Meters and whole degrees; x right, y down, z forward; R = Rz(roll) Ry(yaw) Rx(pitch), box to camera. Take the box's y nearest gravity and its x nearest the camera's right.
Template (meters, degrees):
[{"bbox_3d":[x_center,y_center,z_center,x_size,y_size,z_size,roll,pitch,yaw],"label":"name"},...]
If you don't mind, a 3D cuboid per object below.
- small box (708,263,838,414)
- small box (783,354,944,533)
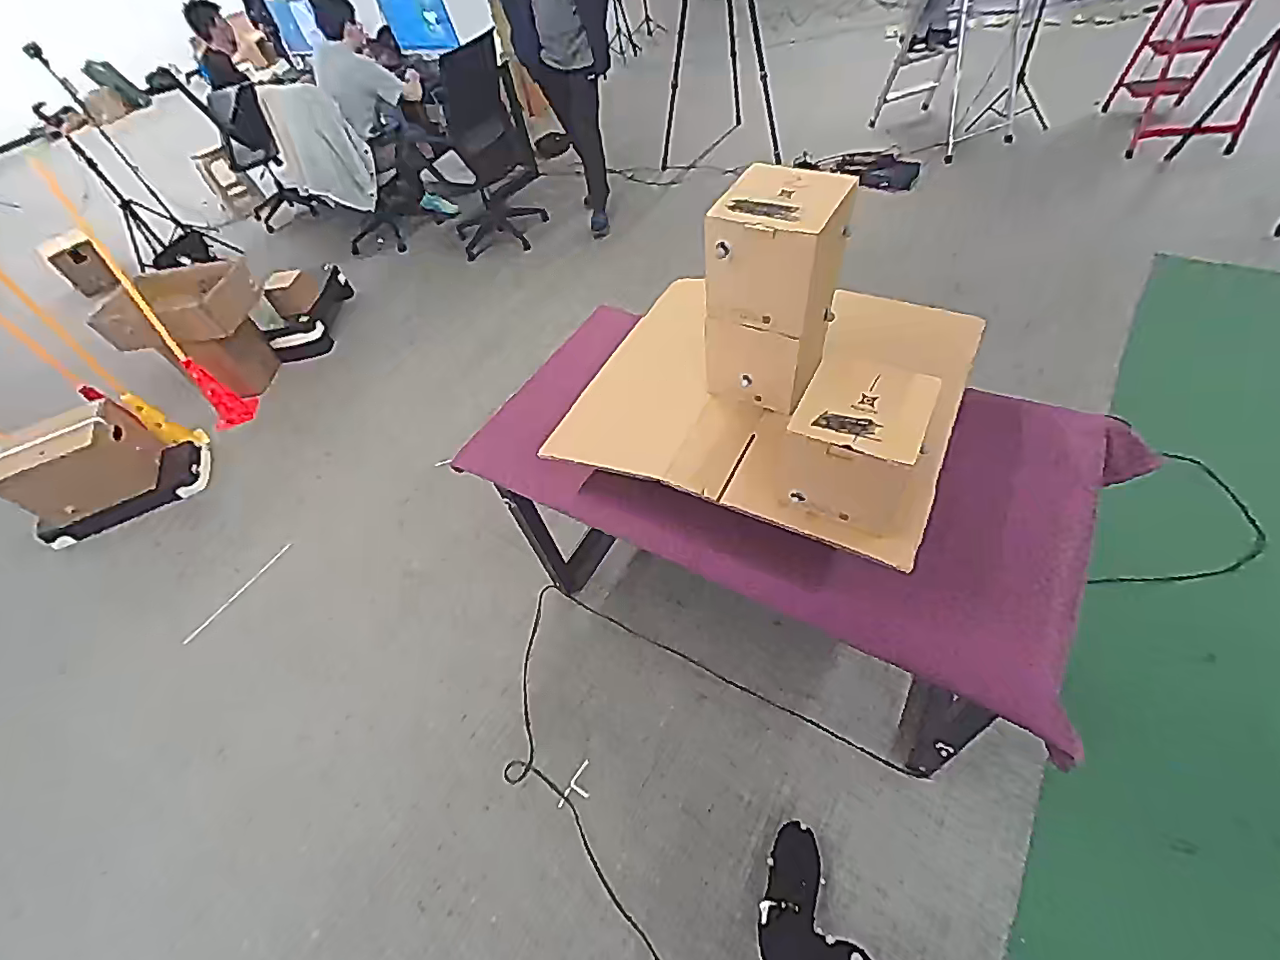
[{"bbox_3d":[0.230,-0.250,0.961,0.168,0.176,0.179,22,60,23],"label":"small box"},{"bbox_3d":[0.318,-0.051,0.796,0.168,0.176,0.179,21,58,23],"label":"small box"}]
